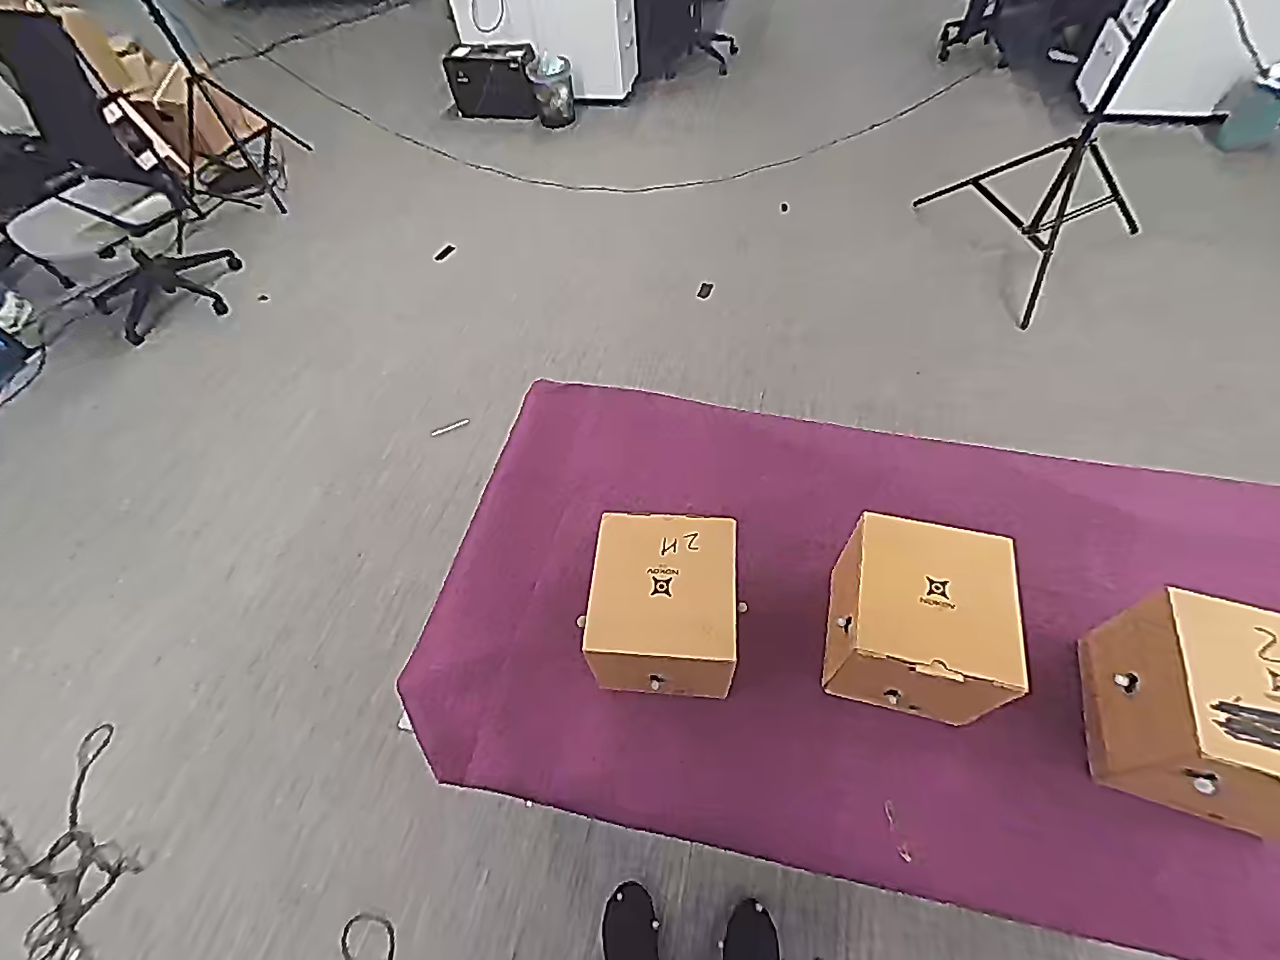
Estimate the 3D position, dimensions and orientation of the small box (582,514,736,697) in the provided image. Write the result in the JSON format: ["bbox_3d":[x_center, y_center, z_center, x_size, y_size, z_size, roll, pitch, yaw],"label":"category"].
[{"bbox_3d":[0.032,0.163,0.682,0.168,0.176,0.179,3,55,6],"label":"small box"}]

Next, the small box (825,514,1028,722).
[{"bbox_3d":[0.329,0.170,0.656,0.168,0.176,0.179,10,57,12],"label":"small box"}]
